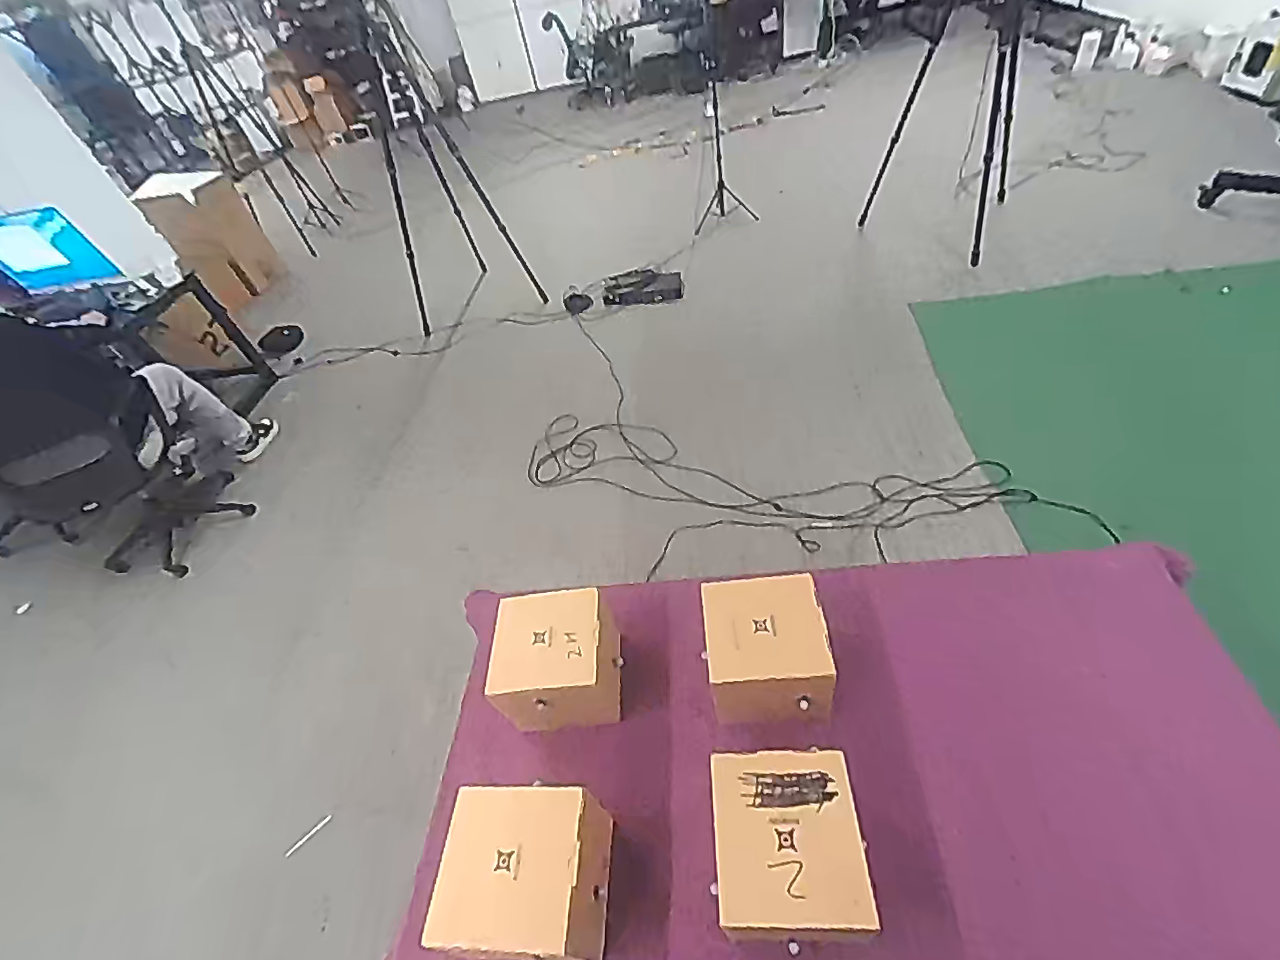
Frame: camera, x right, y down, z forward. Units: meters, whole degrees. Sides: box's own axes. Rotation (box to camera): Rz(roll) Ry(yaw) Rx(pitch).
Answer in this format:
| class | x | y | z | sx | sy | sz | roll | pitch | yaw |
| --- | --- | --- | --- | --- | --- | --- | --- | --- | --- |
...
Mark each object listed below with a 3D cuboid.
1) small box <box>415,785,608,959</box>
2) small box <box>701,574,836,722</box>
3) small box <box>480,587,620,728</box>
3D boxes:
| class | x | y | z | sx | sy | sz | roll | pitch | yaw |
| --- | --- | --- | --- | --- | --- | --- | --- | --- | --- |
| small box | -0.151 | 0.512 | 0.703 | 0.179 | 0.176 | 0.168 | -5 | 45 | 9 |
| small box | 0.194 | 0.266 | 0.847 | 0.179 | 0.176 | 0.168 | -7 | 46 | 9 |
| small box | -0.138 | 0.299 | 0.899 | 0.179 | 0.176 | 0.168 | -8 | 47 | 7 |
